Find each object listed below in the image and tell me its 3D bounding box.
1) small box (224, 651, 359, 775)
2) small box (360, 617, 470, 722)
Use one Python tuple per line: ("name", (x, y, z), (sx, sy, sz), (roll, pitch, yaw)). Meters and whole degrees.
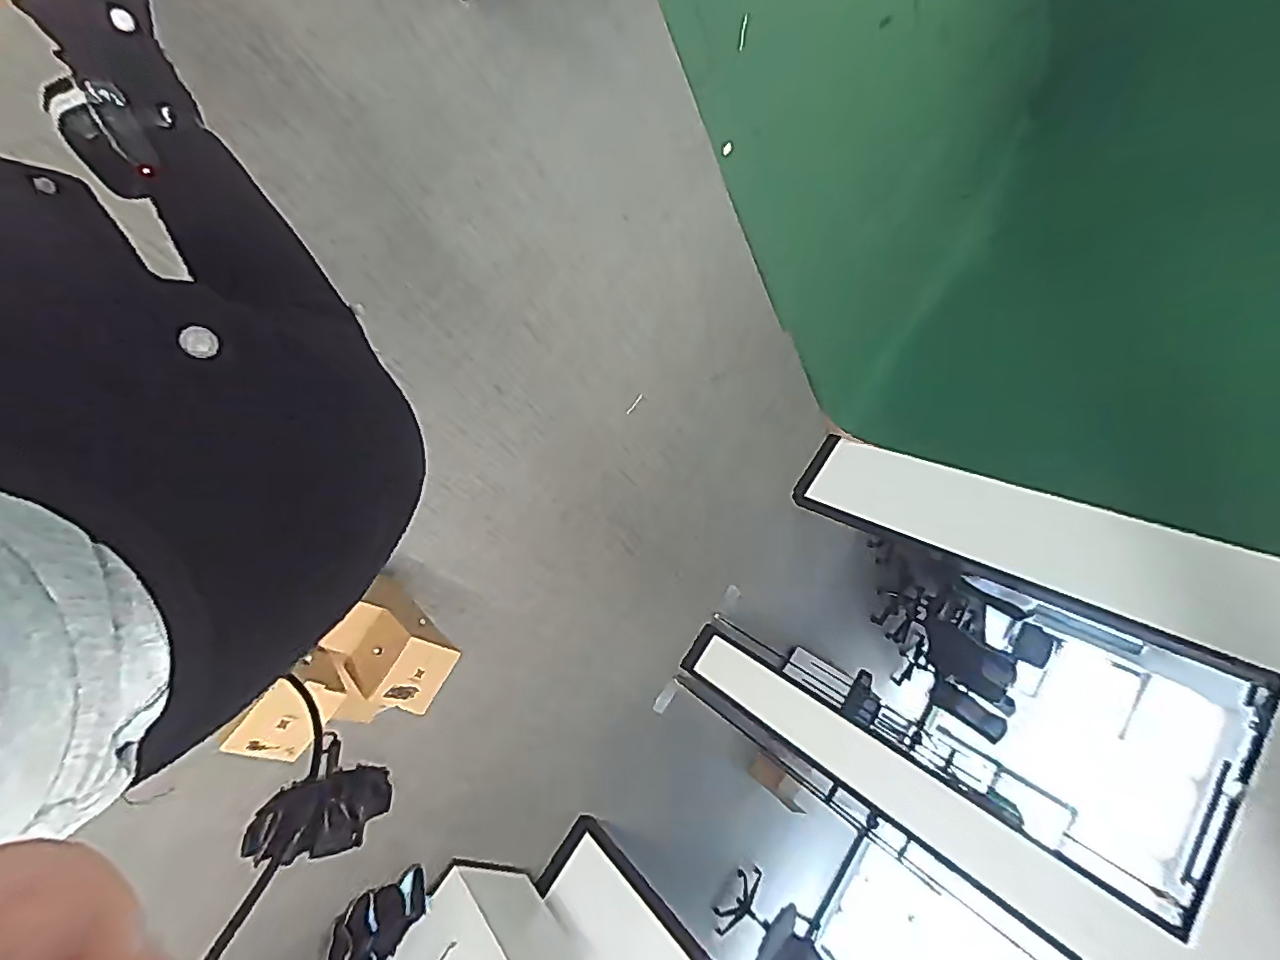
("small box", (-0.763, 0.503, 1.179), (0.179, 0.176, 0.168), (-56, 137, -11))
("small box", (-0.574, 0.477, 1.367), (0.168, 0.176, 0.179), (43, 72, -47))
